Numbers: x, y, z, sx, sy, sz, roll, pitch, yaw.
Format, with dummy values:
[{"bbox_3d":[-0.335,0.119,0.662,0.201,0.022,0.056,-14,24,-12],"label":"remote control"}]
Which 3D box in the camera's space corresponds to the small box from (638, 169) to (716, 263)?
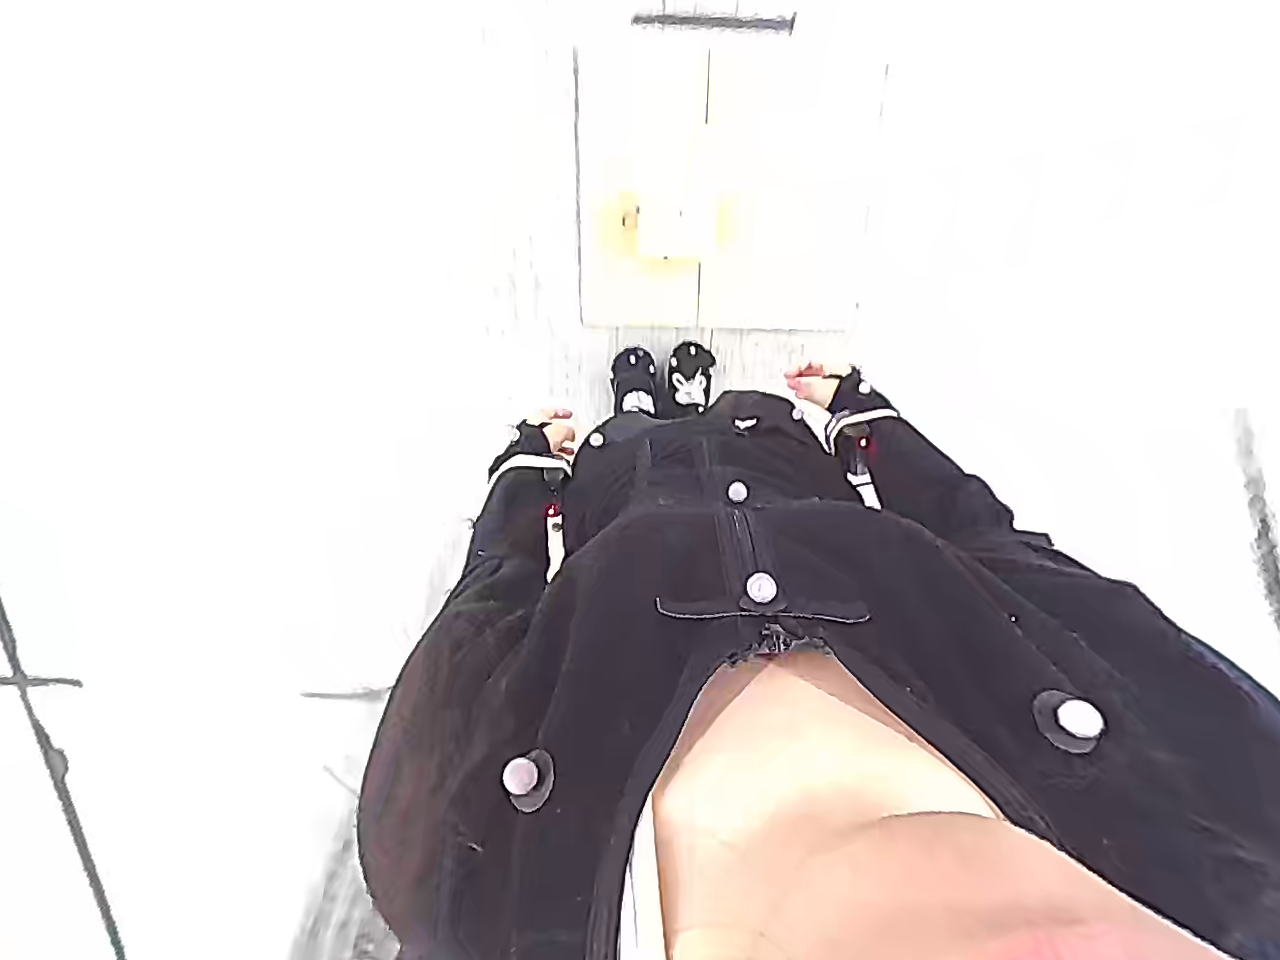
[{"bbox_3d":[0.081,-0.598,1.244,0.168,0.176,0.179,-1,107,-1],"label":"small box"}]
